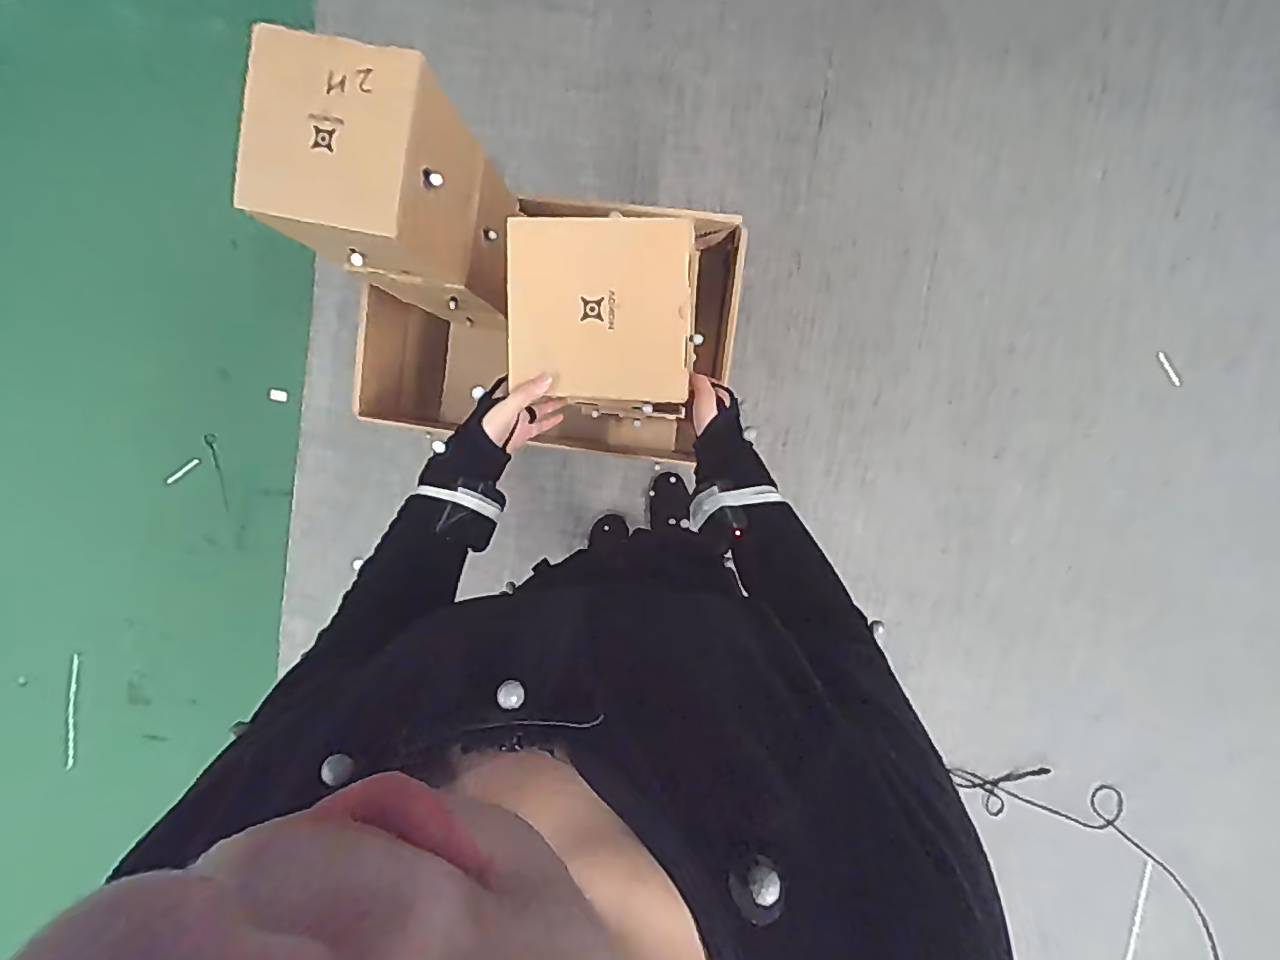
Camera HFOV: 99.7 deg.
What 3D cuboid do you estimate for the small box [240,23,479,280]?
[{"bbox_3d":[-0.293,-0.340,0.599,0.168,0.176,0.179,12,95,0],"label":"small box"}]

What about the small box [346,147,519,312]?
[{"bbox_3d":[-0.280,-0.349,0.762,0.168,0.176,0.179,10,94,1],"label":"small box"}]

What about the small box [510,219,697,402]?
[{"bbox_3d":[-0.031,-0.172,0.591,0.179,0.176,0.168,3,100,4],"label":"small box"}]

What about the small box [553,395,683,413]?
[{"bbox_3d":[-0.017,-0.187,0.757,0.168,0.176,0.179,6,96,4],"label":"small box"}]
